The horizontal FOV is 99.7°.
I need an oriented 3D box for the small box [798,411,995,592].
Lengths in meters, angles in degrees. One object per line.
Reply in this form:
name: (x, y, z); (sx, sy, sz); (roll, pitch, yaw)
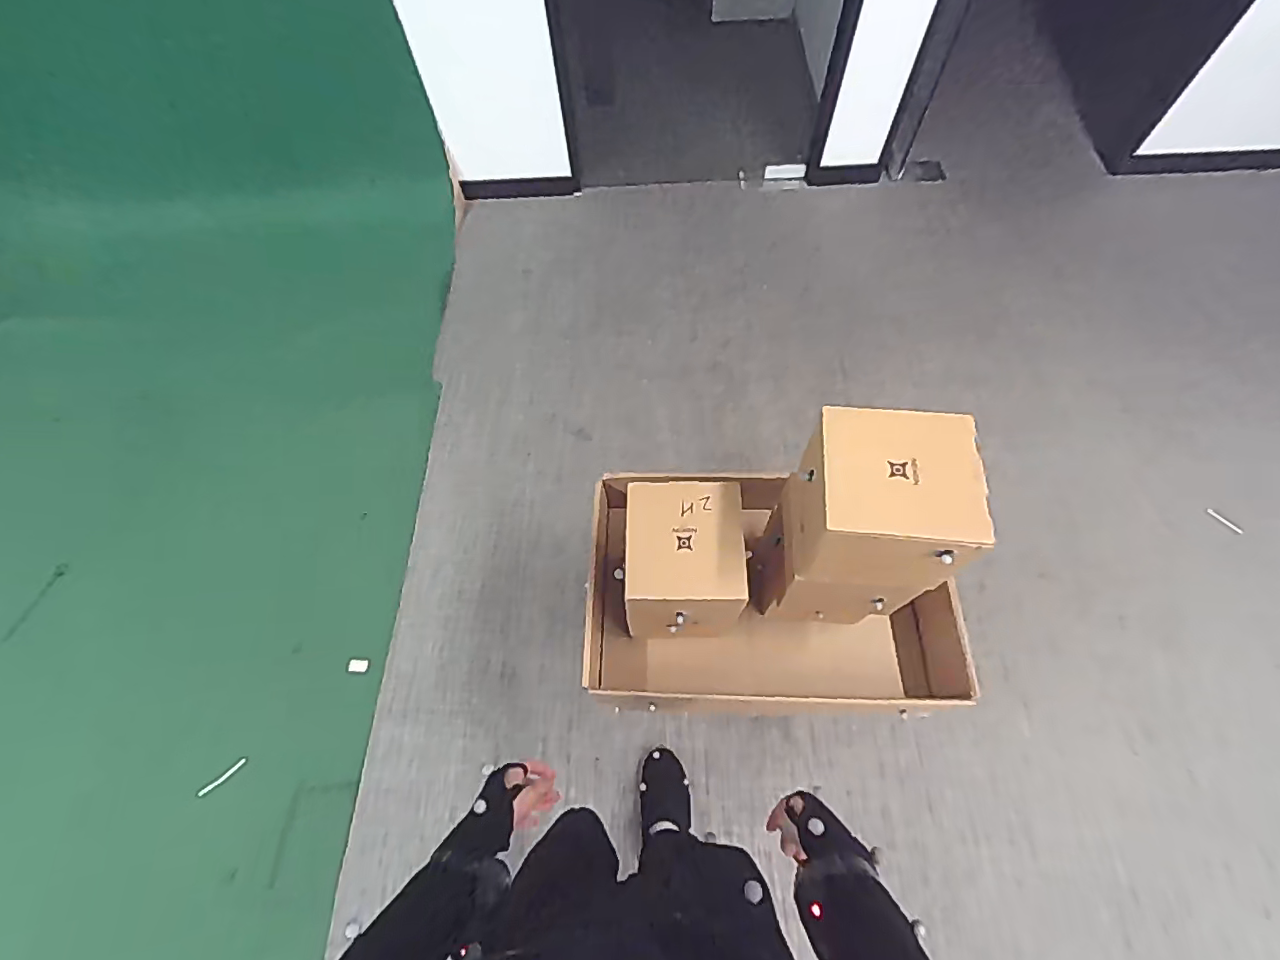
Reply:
small box: (0.297, 0.033, 0.672); (0.179, 0.176, 0.168); (5, 63, 6)

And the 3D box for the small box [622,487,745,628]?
small box: (0.064, 0.123, 0.817); (0.168, 0.176, 0.179); (0, 64, 2)
